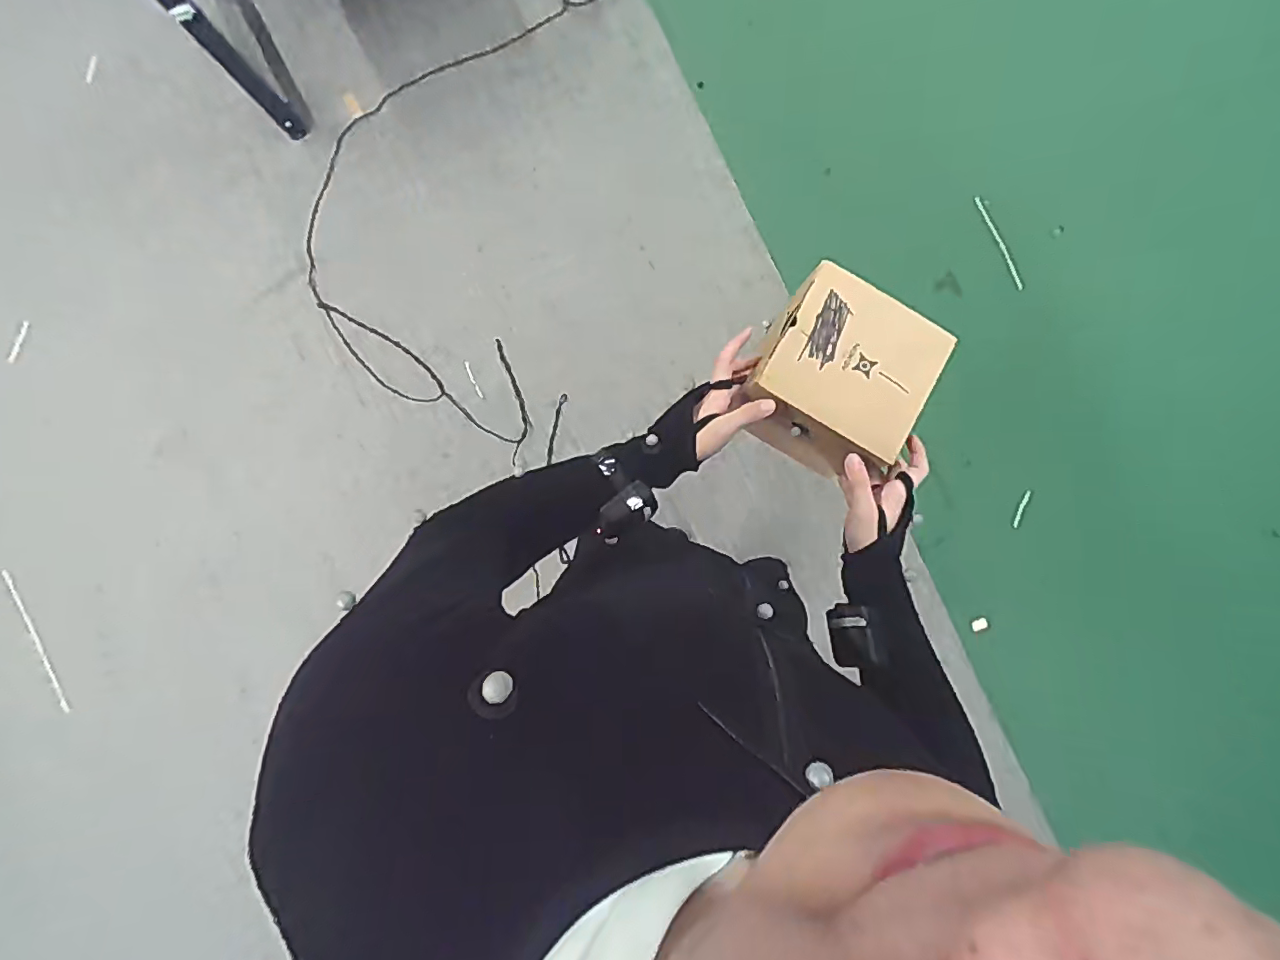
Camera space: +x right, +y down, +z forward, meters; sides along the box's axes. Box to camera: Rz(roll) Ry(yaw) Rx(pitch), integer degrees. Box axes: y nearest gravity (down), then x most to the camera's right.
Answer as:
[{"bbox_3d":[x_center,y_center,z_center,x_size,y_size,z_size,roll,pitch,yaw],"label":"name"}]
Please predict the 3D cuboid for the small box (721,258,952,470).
[{"bbox_3d":[0.222,-0.123,0.657,0.179,0.176,0.168,30,83,-3],"label":"small box"}]
